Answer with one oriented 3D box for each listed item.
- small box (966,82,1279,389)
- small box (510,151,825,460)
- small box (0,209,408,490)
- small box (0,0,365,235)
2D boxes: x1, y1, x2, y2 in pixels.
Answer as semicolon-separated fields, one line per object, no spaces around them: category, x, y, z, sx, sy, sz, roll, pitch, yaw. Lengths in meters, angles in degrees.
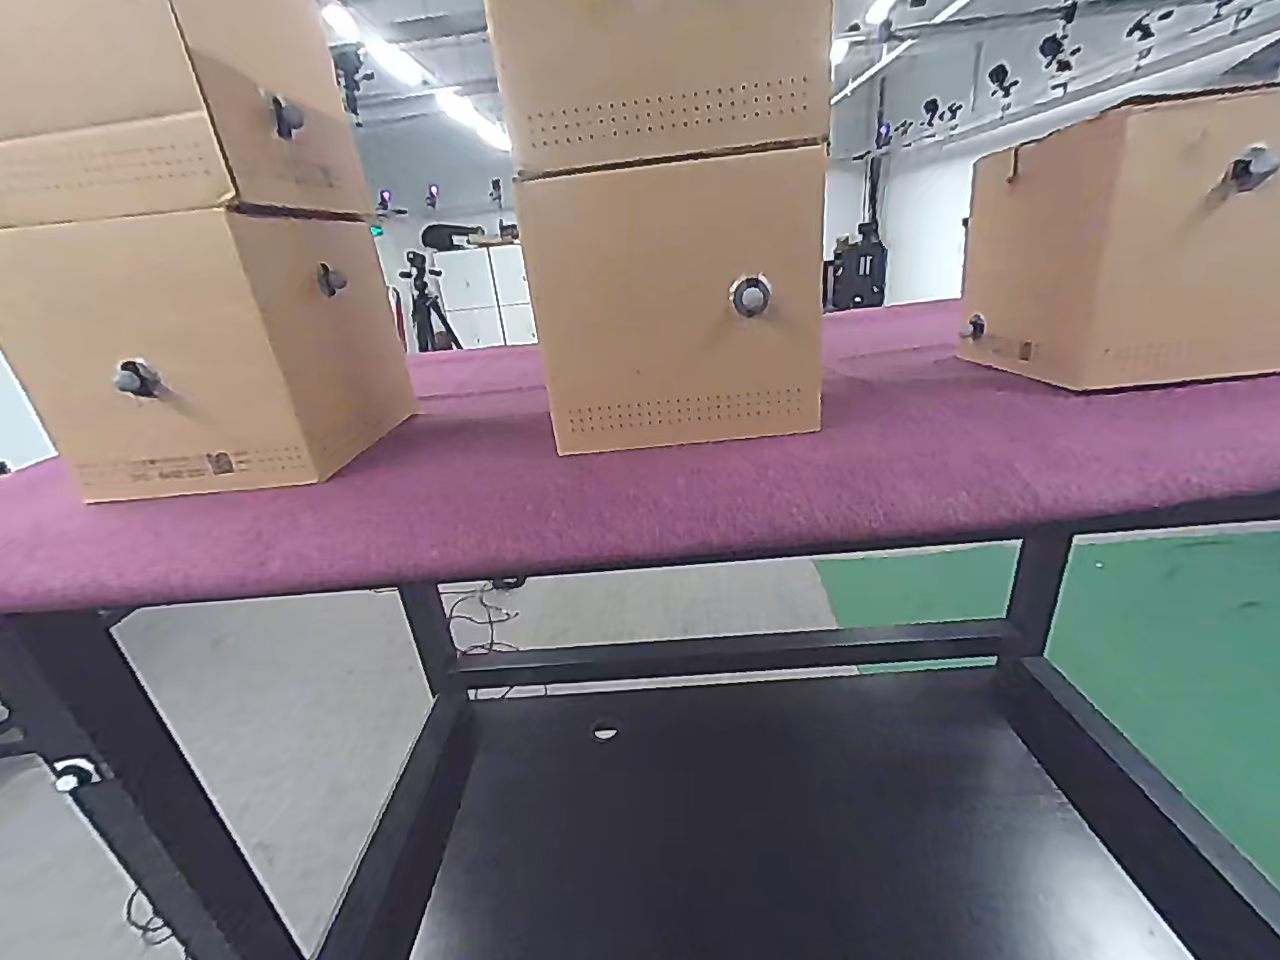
small box;0.369;-0.168;0.400;0.179;0.176;0.168;-5;21;4
small box;0.022;-0.125;0.398;0.179;0.176;0.168;-6;23;2
small box;-0.298;-0.097;0.405;0.168;0.176;0.179;-4;23;2
small box;-0.312;-0.246;0.339;0.179;0.176;0.168;-5;24;1
